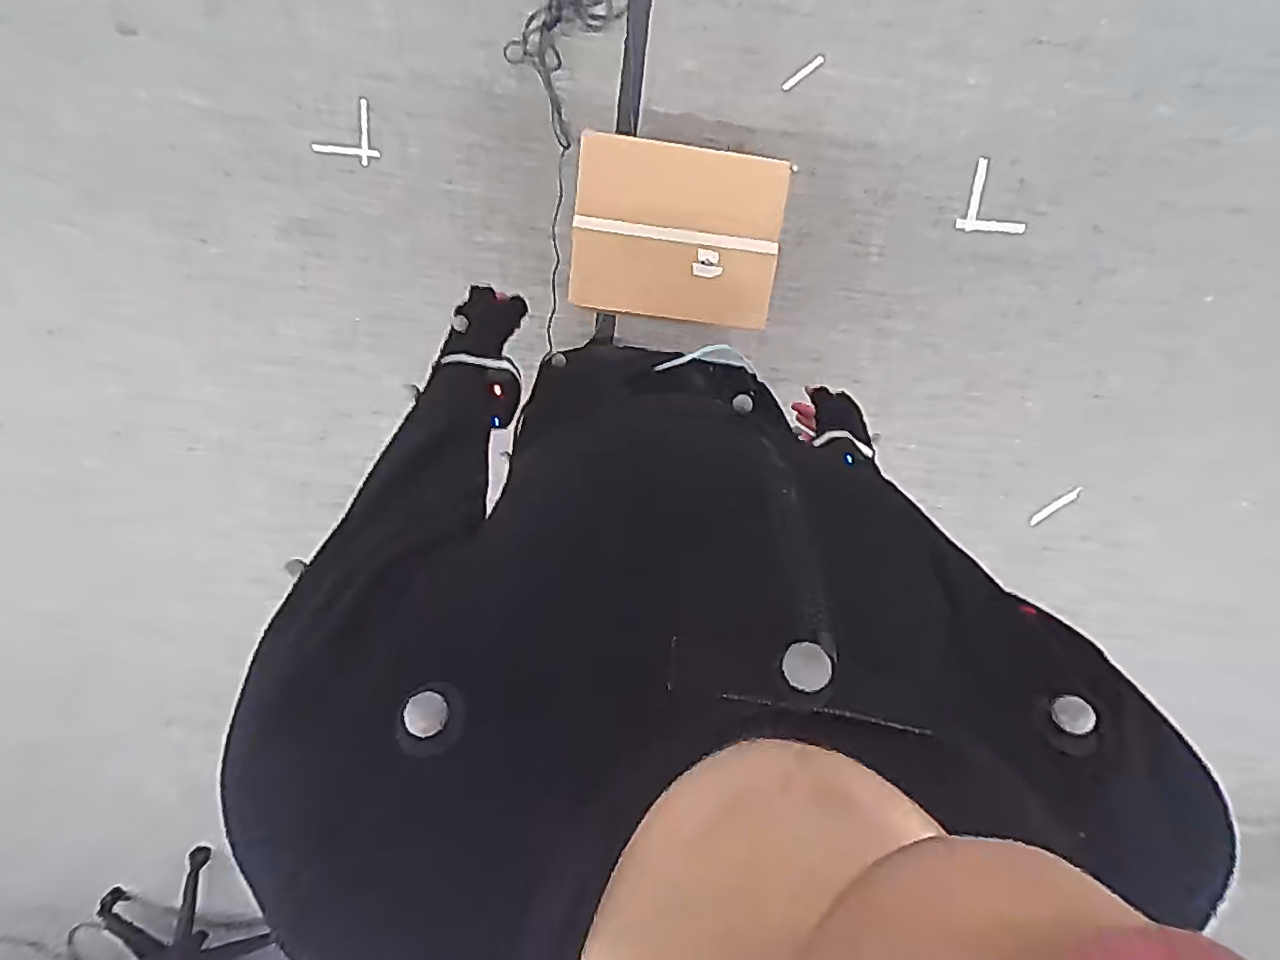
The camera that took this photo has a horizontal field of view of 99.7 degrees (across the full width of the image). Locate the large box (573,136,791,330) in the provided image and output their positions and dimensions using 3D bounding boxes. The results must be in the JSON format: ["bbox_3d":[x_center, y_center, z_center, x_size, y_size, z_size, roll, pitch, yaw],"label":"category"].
[{"bbox_3d":[0.069,-0.517,1.208,0.408,0.320,0.320,7,106,-5],"label":"large box"}]
